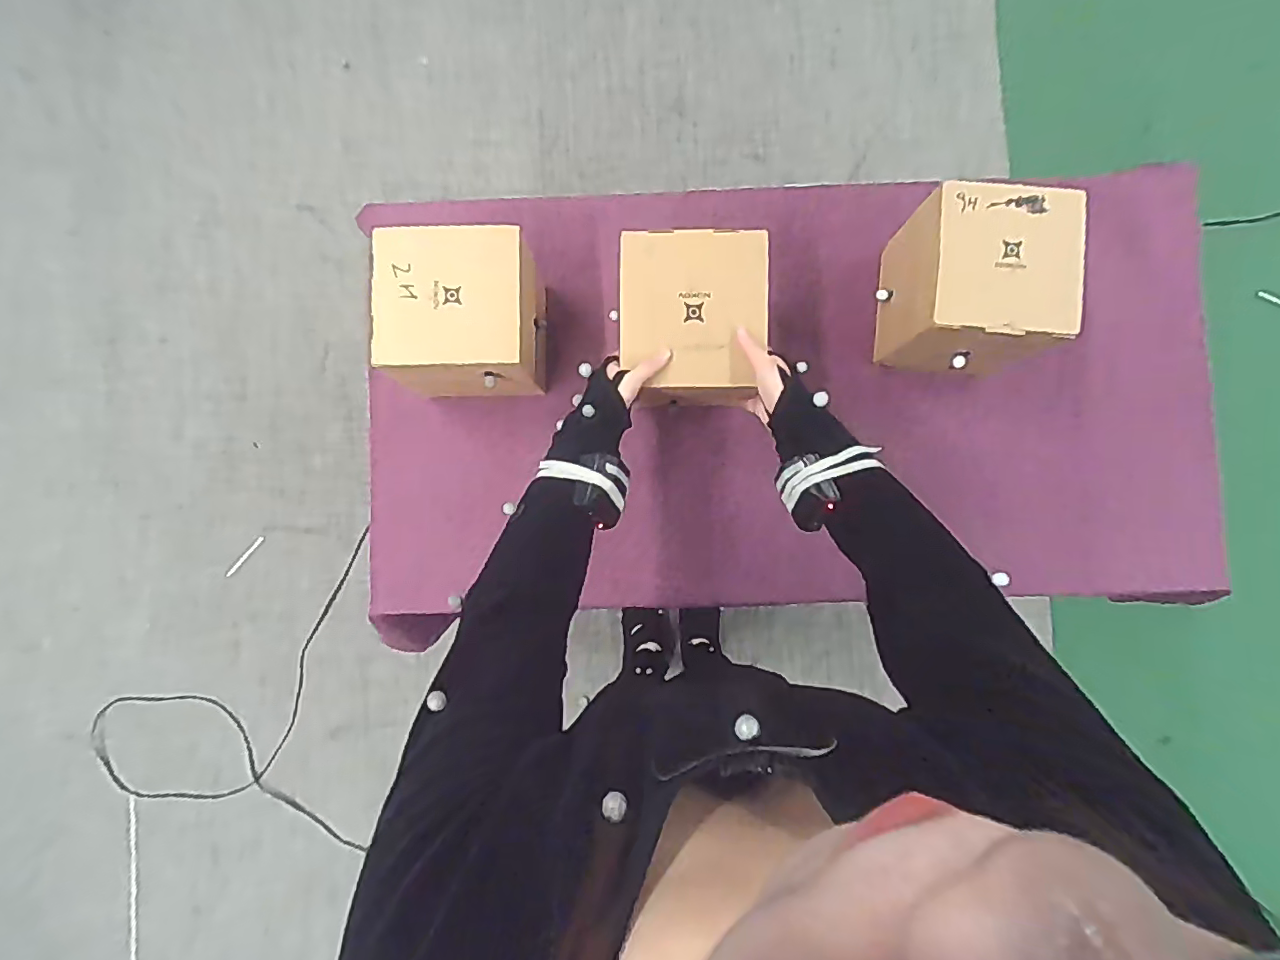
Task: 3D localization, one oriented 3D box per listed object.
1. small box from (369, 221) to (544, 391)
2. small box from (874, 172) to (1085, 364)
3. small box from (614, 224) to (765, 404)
[{"bbox_3d":[-0.226,-0.216,0.708,0.179,0.176,0.168,0,86,2],"label":"small box"},{"bbox_3d":[0.417,-0.257,0.694,0.168,0.176,0.179,6,88,1],"label":"small box"},{"bbox_3d":[0.056,-0.194,0.674,0.168,0.176,0.179,1,91,2],"label":"small box"}]
